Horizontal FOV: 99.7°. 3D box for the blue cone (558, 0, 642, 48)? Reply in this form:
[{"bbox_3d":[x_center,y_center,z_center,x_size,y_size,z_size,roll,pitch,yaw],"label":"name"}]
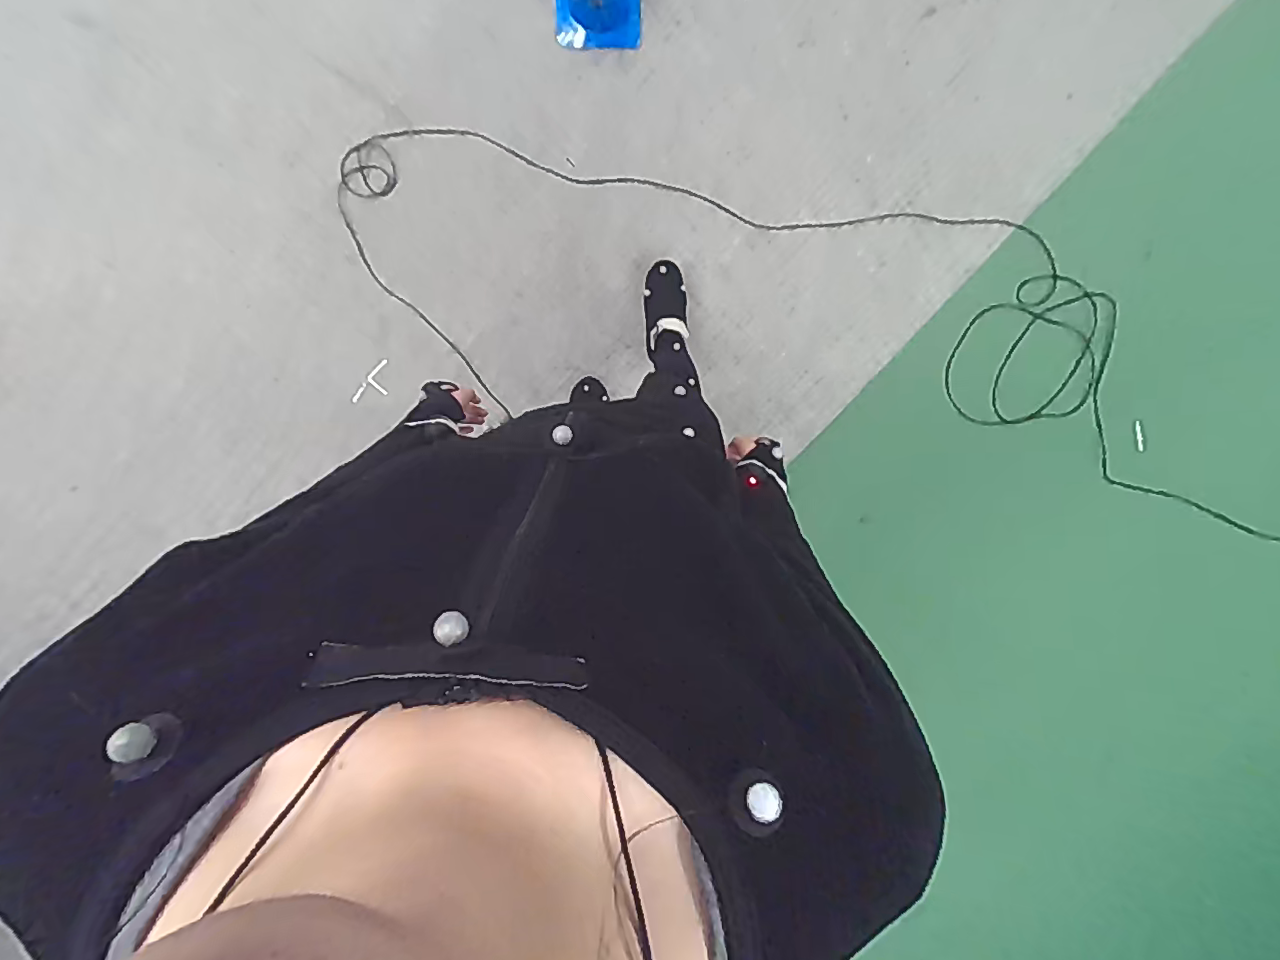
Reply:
[{"bbox_3d":[-0.092,-1.065,1.073,0.192,0.380,0.193,-2,101,0],"label":"blue cone"}]
